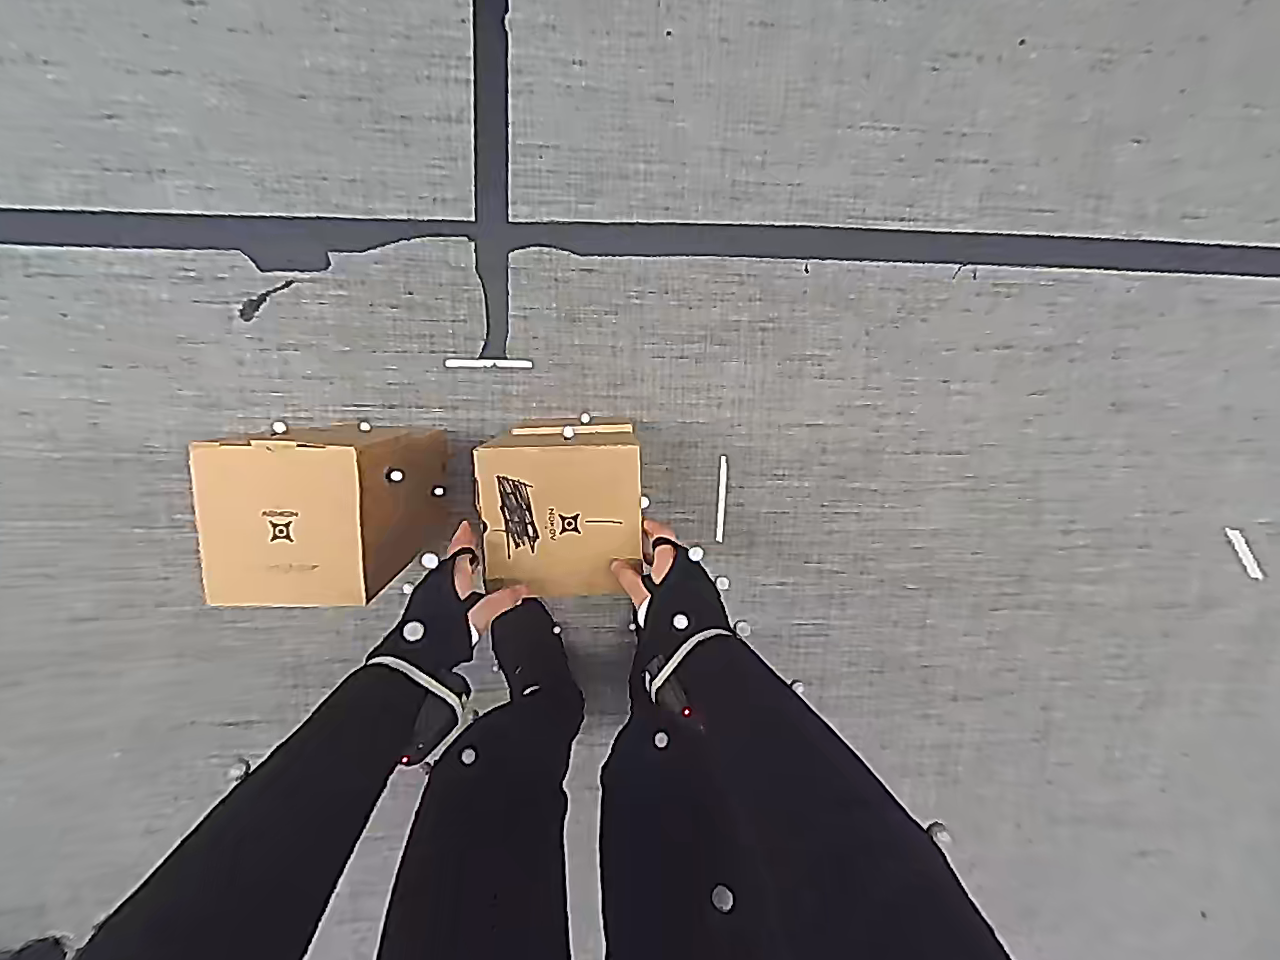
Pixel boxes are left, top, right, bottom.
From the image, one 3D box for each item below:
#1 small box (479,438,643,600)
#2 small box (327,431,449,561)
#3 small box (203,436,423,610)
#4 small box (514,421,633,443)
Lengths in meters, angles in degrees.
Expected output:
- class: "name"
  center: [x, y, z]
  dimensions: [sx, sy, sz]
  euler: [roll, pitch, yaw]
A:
- class: "small box"
  center: [-0.089, 0.038, 0.670]
  dimensions: [0.179, 0.176, 0.168]
  euler: [-2, 100, -4]
- class: "small box"
  center: [-0.392, 0.017, 0.809]
  dimensions: [0.179, 0.176, 0.168]
  euler: [2, 100, -4]
- class: "small box"
  center: [-0.373, 0.041, 0.650]
  dimensions: [0.168, 0.176, 0.179]
  euler: [1, 101, -3]
- class: "small box"
  center: [-0.095, 0.006, 0.833]
  dimensions: [0.168, 0.176, 0.179]
  euler: [-2, 101, -4]
